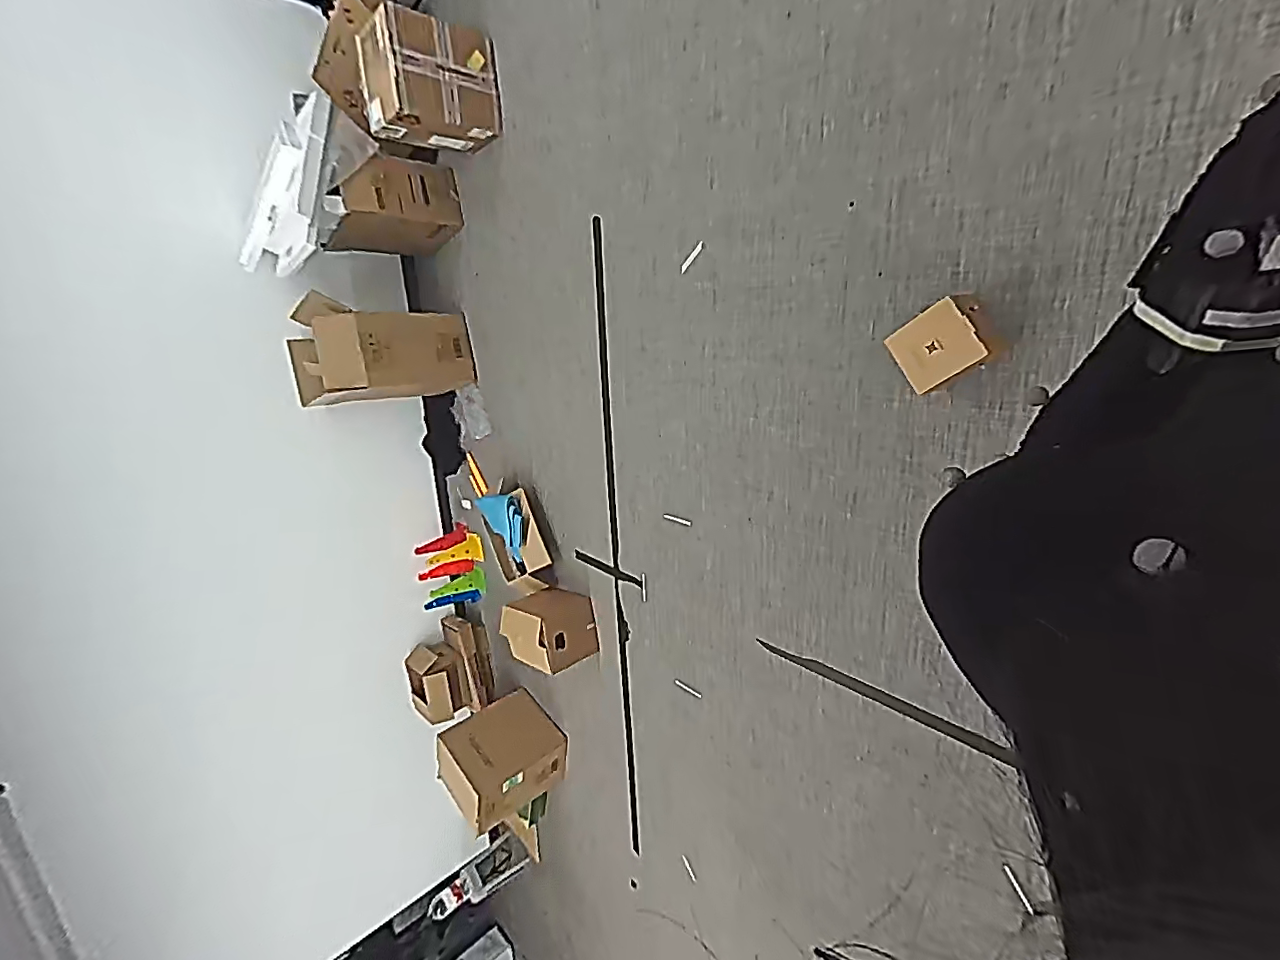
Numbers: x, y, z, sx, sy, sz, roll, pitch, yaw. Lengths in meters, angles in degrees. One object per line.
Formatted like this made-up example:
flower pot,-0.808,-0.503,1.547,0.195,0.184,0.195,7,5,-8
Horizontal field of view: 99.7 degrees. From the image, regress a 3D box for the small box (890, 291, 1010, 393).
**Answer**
small box,0.748,-0.331,1.296,0.179,0.176,0.168,-41,70,48
